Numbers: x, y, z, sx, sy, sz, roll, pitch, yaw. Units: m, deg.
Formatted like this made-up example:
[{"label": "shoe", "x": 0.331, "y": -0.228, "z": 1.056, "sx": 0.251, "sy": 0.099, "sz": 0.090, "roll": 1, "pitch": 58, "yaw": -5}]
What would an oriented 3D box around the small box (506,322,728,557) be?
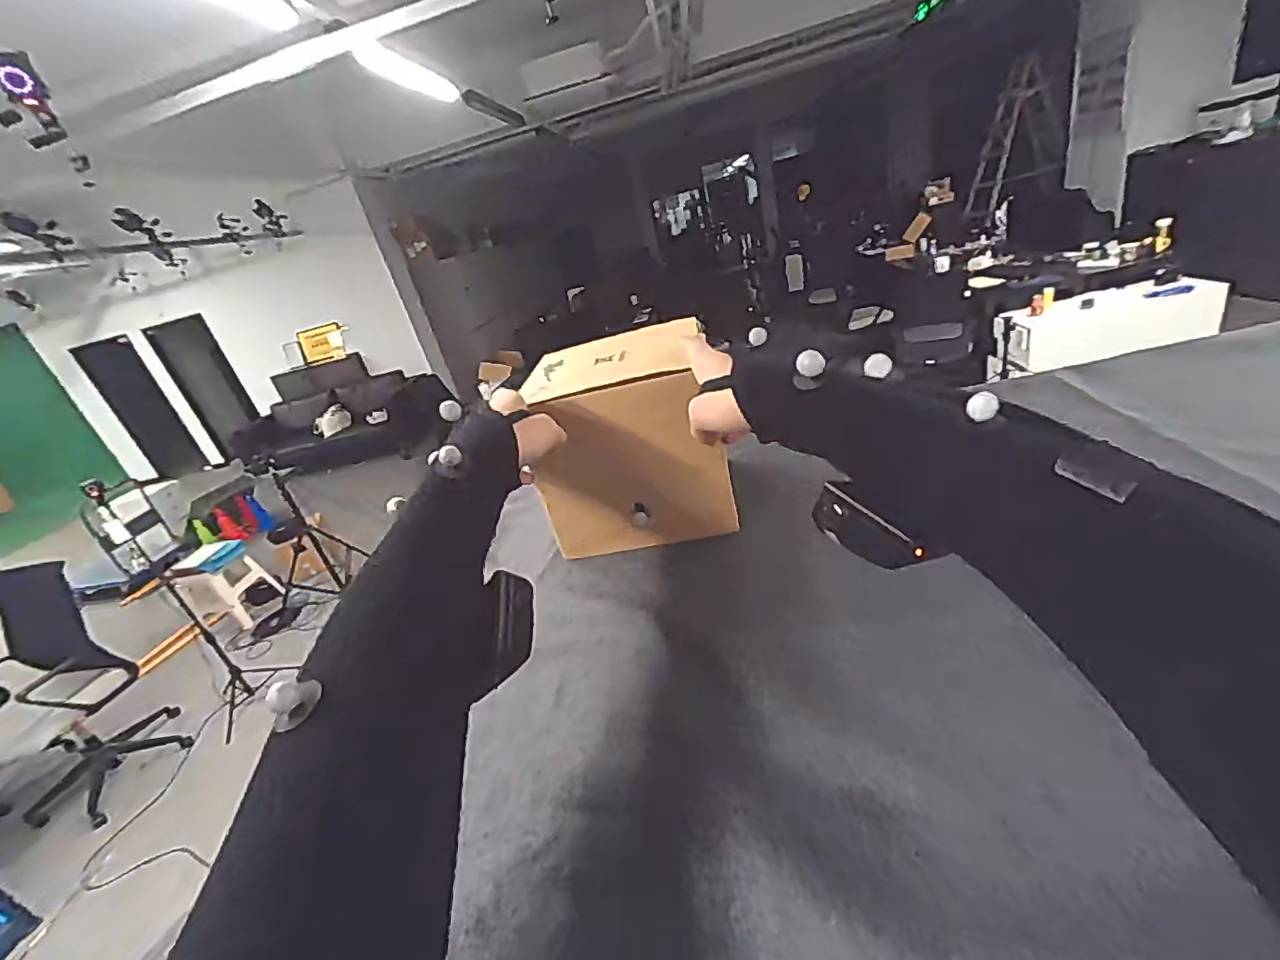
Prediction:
[{"label": "small box", "x": -0.008, "y": -0.042, "z": 0.550, "sx": 0.179, "sy": 0.176, "sz": 0.168, "roll": -10, "pitch": 28, "yaw": 9}]
